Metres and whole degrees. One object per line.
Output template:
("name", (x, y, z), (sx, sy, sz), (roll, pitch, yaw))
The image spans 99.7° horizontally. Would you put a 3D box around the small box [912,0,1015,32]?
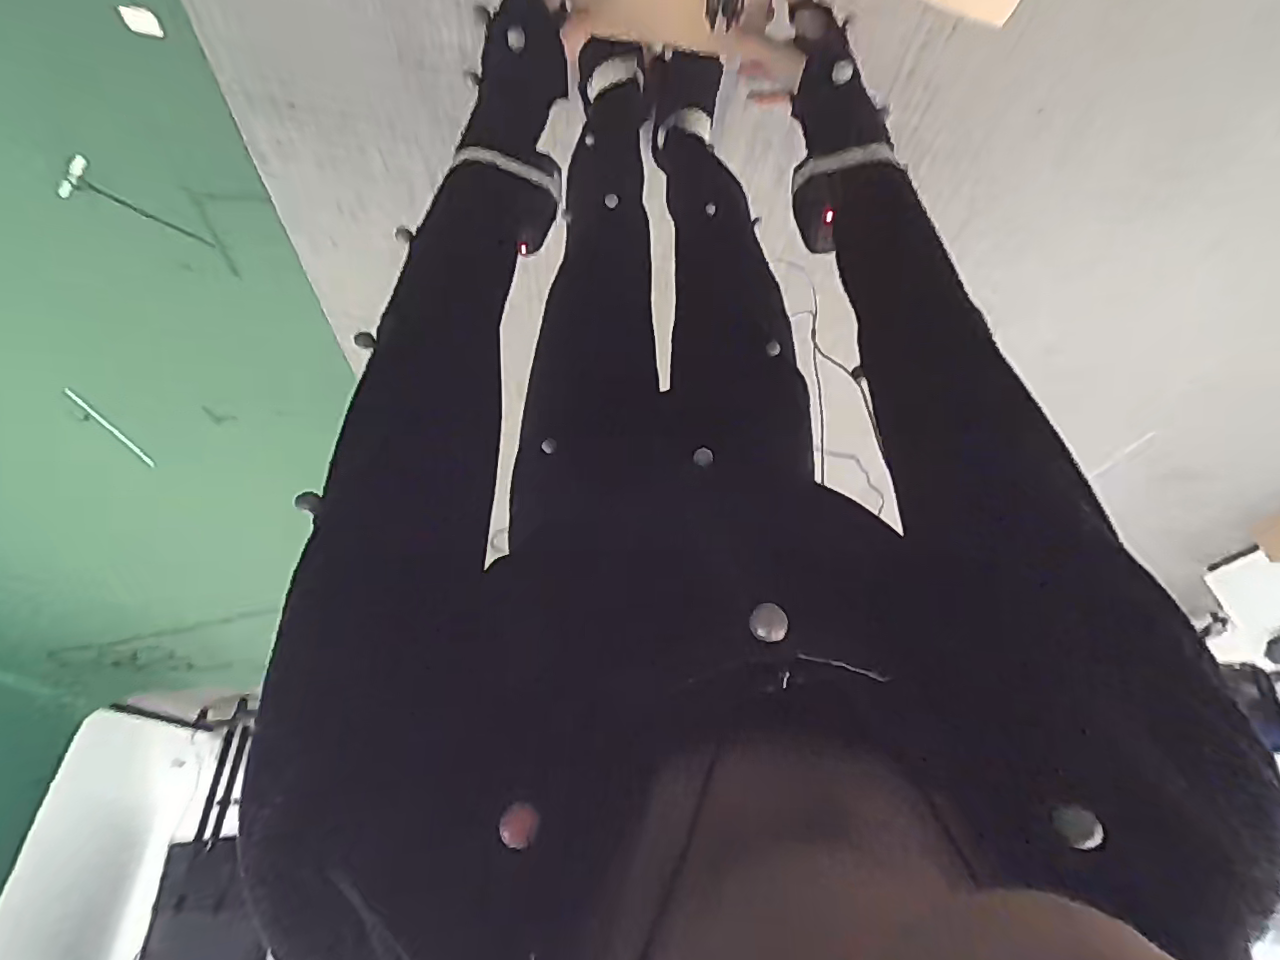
("small box", (0.364, -0.663, 0.615), (0.179, 0.176, 0.168), (6, 146, -14))
